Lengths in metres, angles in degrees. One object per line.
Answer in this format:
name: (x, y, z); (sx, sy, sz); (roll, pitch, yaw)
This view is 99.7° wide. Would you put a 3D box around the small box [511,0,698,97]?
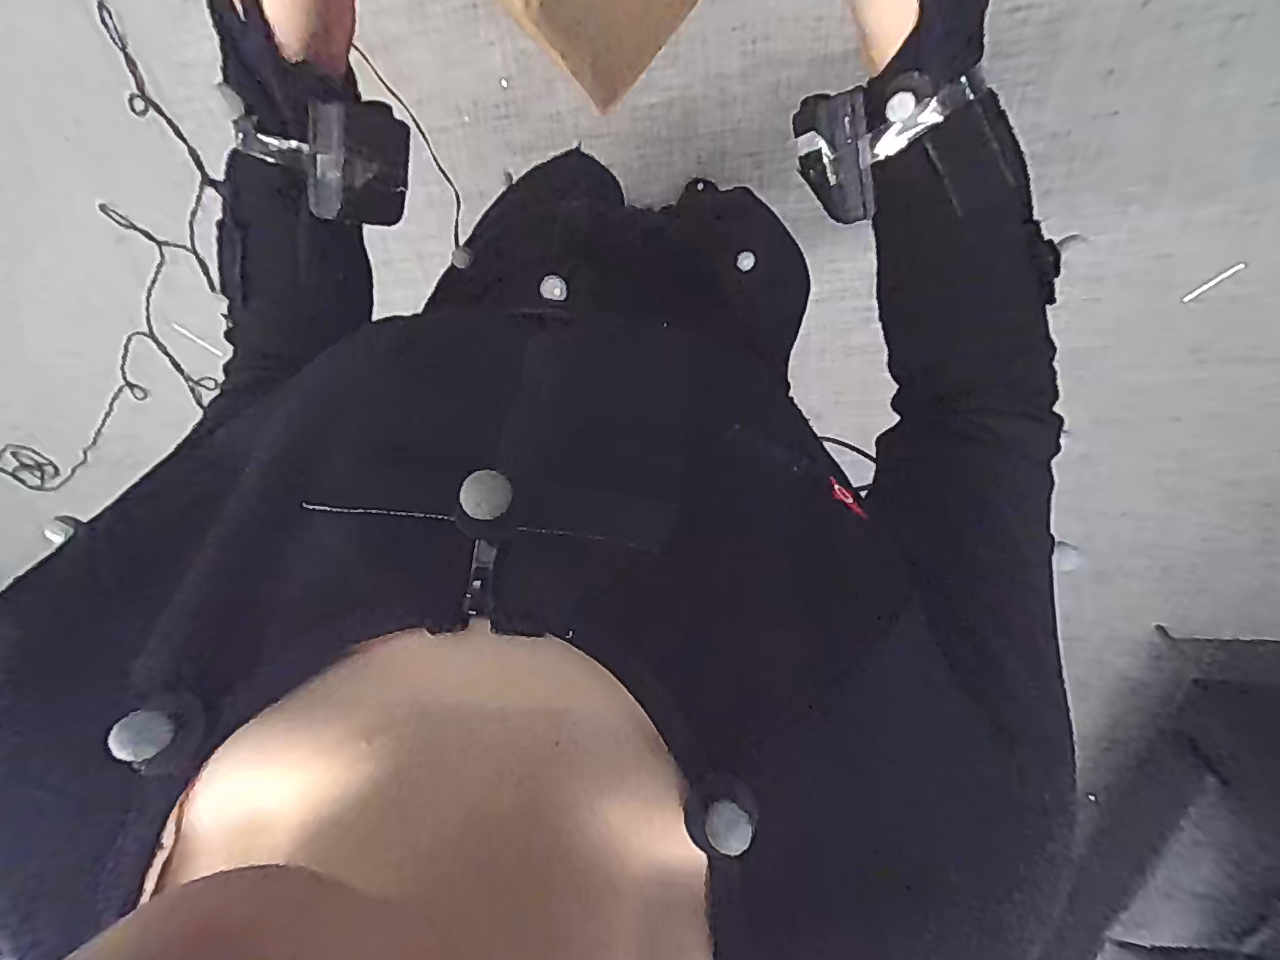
small box: (-0.022, -0.289, 0.198); (0.168, 0.176, 0.179); (42, 112, -13)
